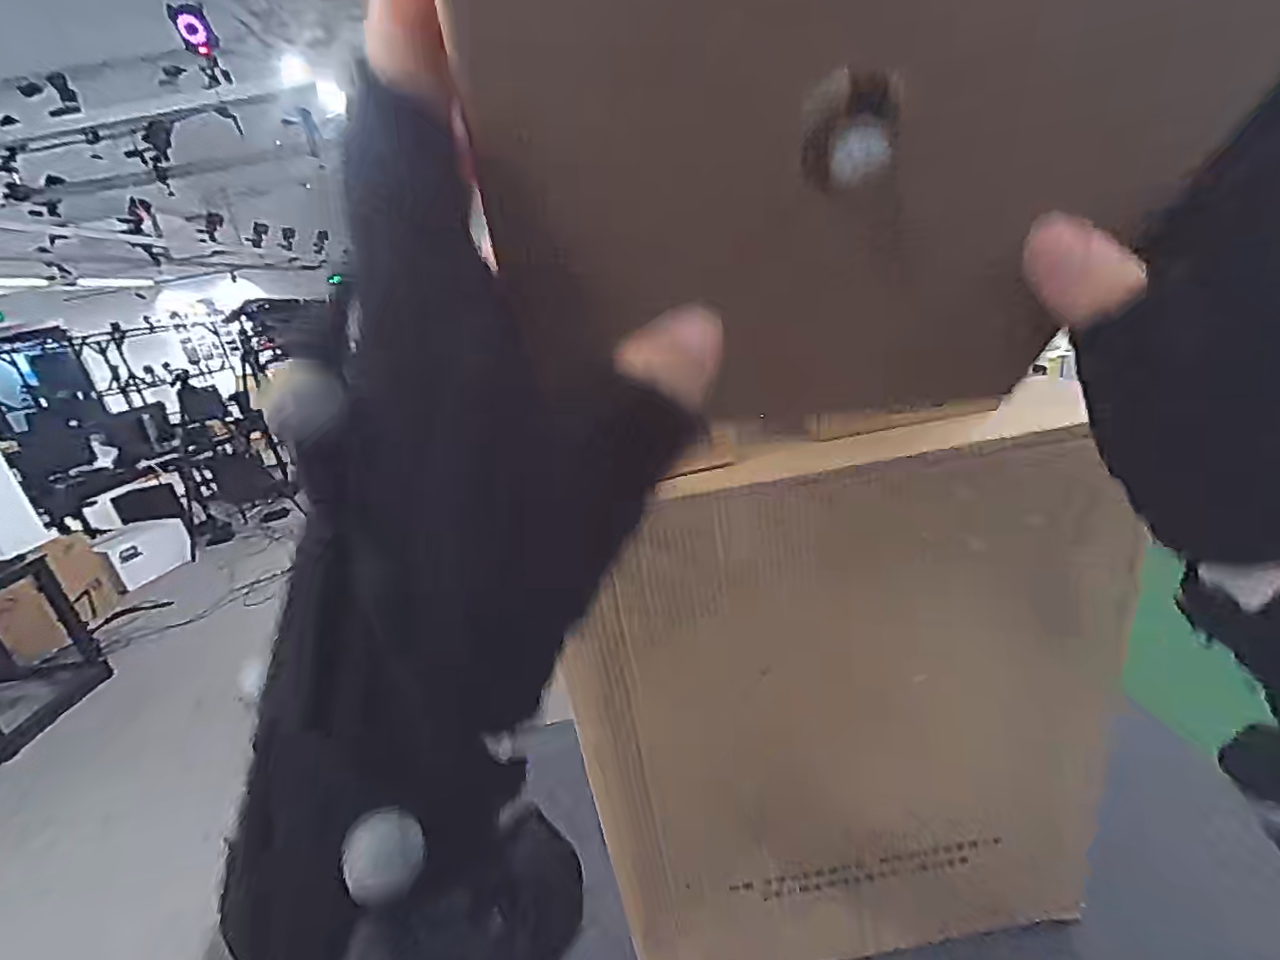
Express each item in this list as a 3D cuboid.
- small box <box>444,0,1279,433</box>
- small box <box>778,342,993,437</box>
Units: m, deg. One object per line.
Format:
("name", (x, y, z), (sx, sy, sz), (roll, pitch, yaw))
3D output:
("small box", (0.038, -0.133, 0.175), (0.179, 0.176, 0.168), (-7, 57, -7))
("small box", (0.213, -0.146, 0.520), (0.168, 0.176, 0.179), (-9, 23, -2))
